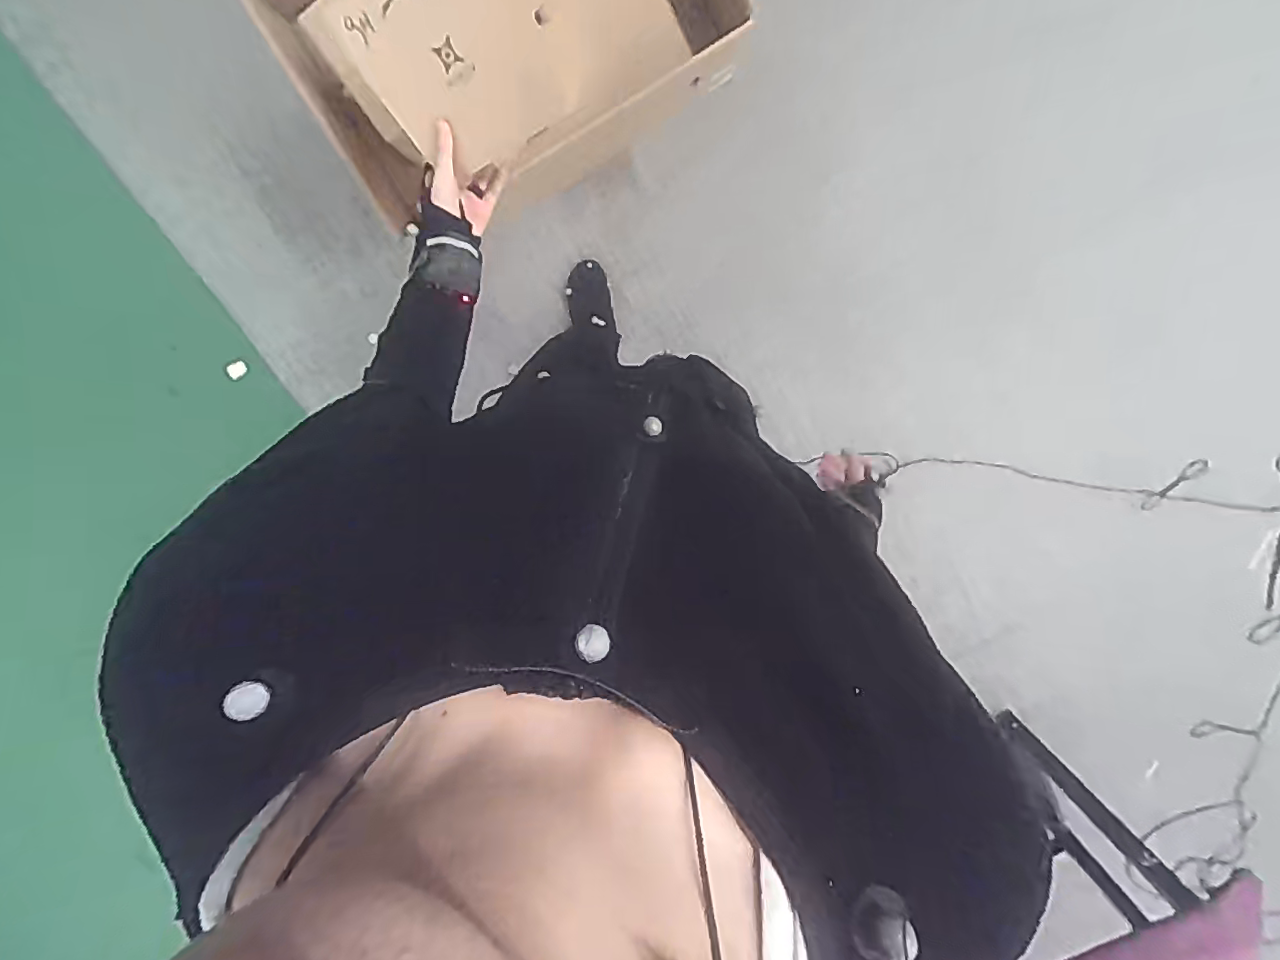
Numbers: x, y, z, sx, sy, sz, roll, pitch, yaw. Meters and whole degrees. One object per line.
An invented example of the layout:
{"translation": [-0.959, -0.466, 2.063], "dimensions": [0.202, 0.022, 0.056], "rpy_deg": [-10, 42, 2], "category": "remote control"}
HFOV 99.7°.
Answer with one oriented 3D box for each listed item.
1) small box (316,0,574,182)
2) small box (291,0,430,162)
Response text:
{"translation": [-0.179, -0.461, 0.560], "dimensions": [0.168, 0.176, 0.179], "rpy_deg": [-20, 137, 19], "category": "small box"}
{"translation": [-0.342, -0.605, 0.785], "dimensions": [0.168, 0.176, 0.179], "rpy_deg": [-33, 107, 8], "category": "small box"}
